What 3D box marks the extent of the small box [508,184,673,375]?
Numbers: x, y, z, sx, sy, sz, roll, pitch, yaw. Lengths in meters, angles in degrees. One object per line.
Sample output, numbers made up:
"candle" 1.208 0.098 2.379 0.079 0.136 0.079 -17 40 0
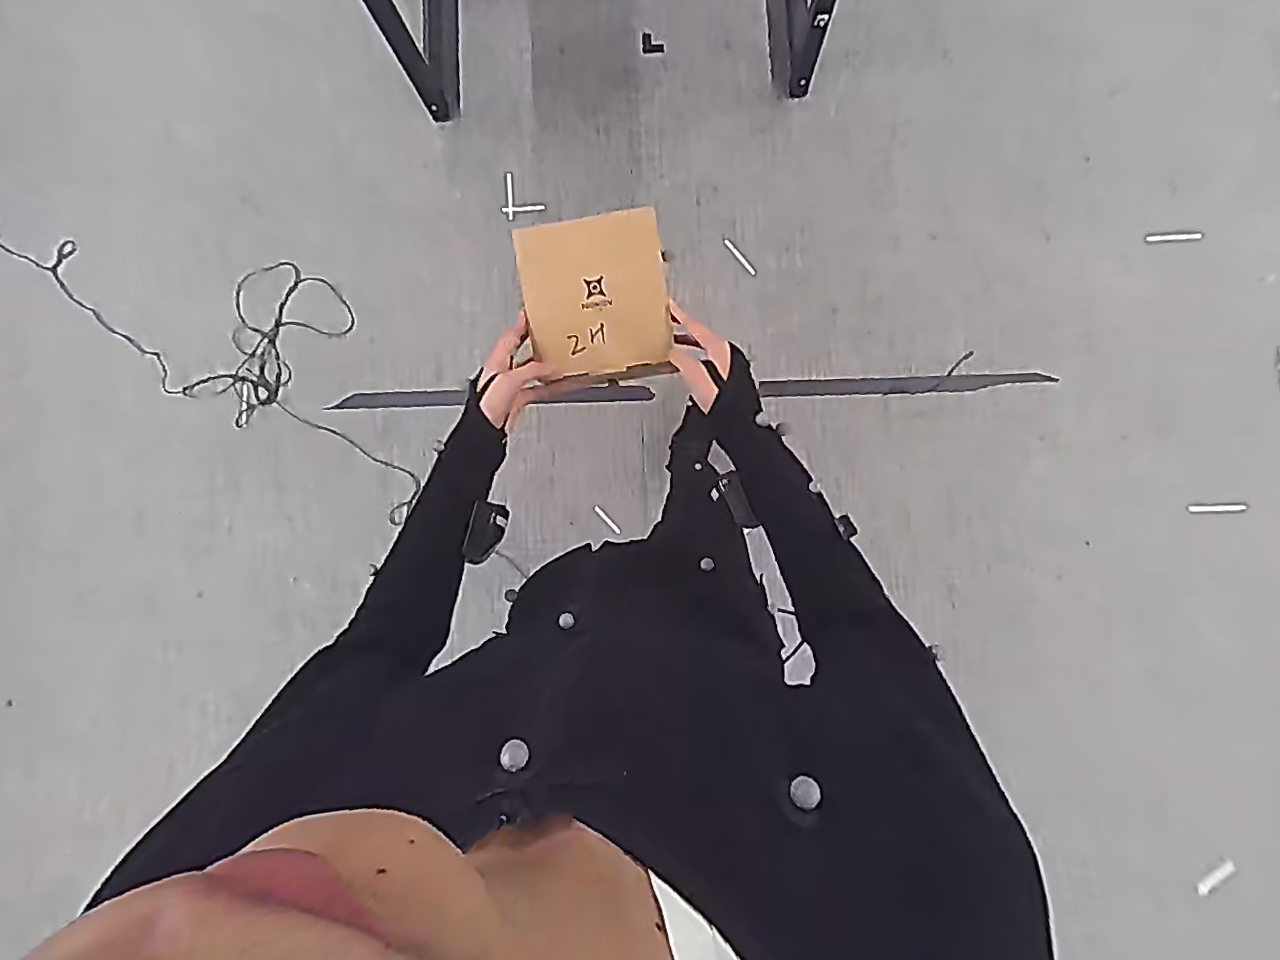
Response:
"small box" -0.055 -0.238 0.683 0.168 0.176 0.179 -9 96 2
